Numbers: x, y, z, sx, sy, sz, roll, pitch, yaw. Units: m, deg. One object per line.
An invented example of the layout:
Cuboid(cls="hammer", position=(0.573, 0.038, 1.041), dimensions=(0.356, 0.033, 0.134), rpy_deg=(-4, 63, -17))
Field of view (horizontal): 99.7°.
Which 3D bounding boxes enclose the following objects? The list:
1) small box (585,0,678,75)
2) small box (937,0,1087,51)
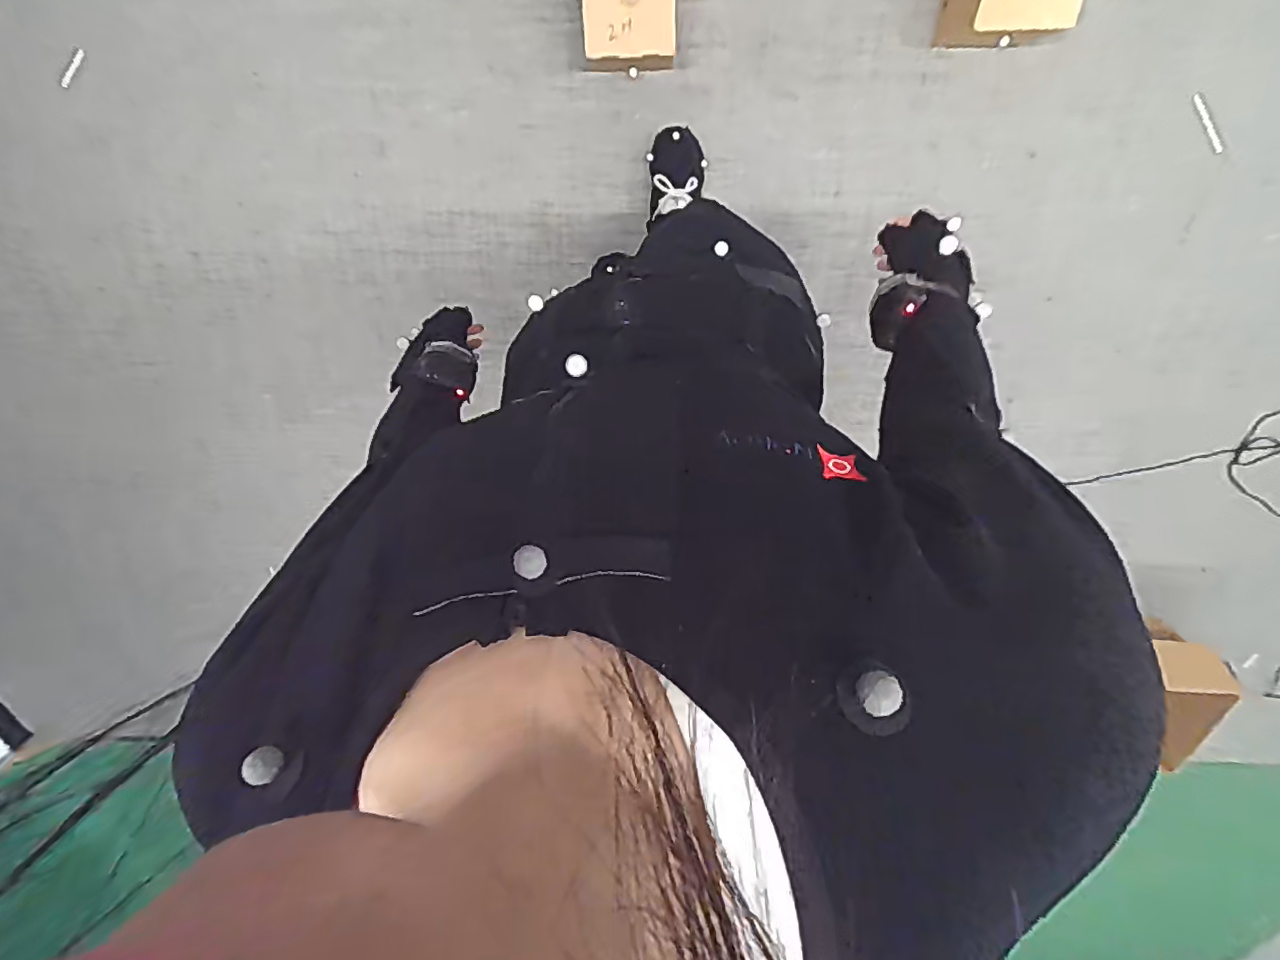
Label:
Cuboid(cls="small box", position=(-0.014, -0.871, 1.000), dimensions=(0.168, 0.176, 0.179), rpy_deg=(0, 121, 3))
Cuboid(cls="small box", position=(0.671, -0.883, 0.965), dimensions=(0.179, 0.176, 0.168), rpy_deg=(0, 122, 3))
